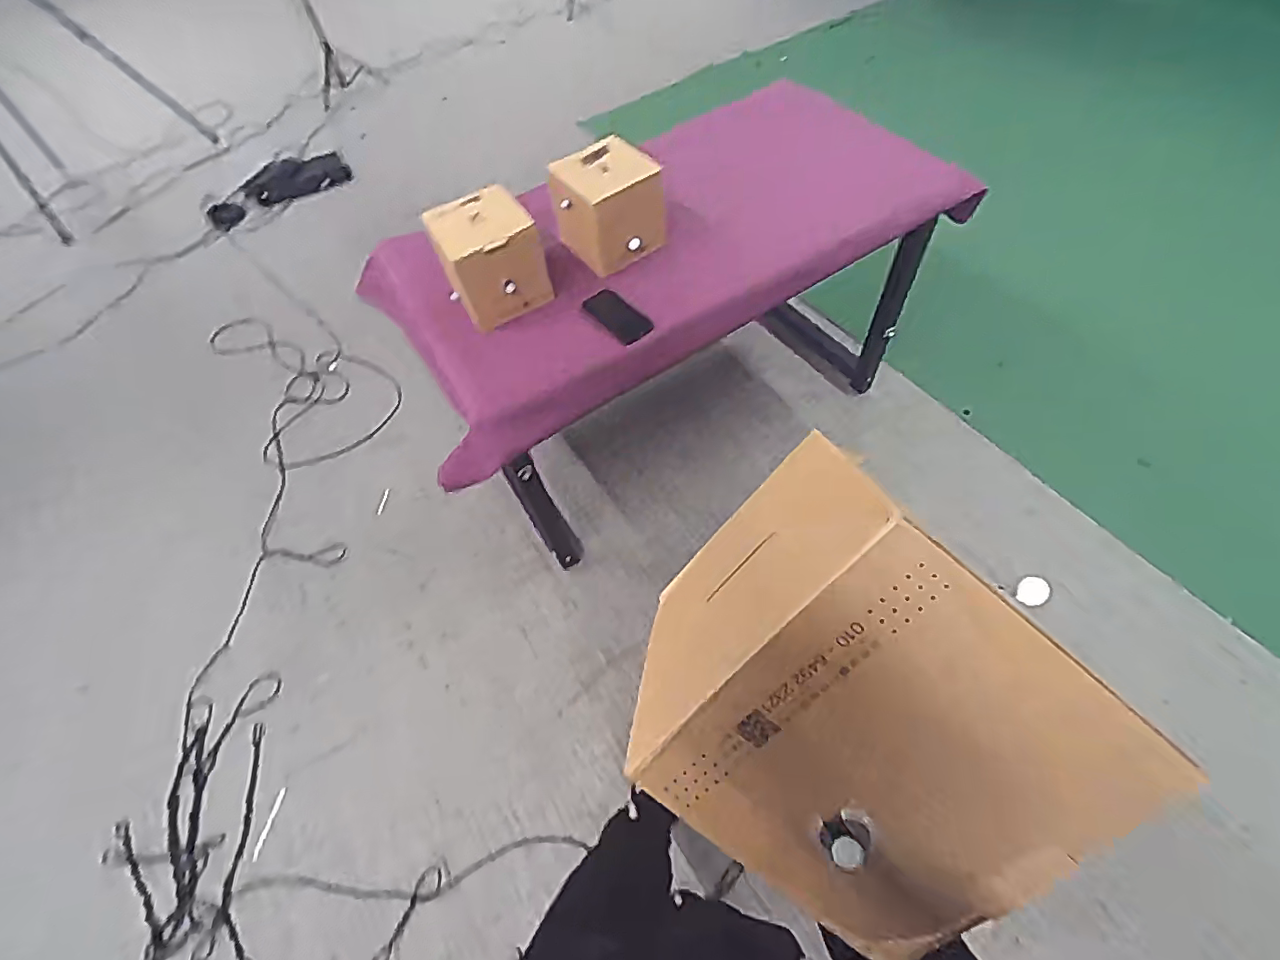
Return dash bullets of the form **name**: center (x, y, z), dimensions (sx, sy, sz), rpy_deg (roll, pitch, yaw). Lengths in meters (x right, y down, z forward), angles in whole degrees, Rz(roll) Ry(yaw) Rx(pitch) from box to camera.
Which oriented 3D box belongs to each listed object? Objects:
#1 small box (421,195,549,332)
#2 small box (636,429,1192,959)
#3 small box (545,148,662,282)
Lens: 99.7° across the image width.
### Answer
- **small box**: center (-0.297, -0.417, 1.067), dimensions (0.168, 0.176, 0.179), rpy_deg (-29, 60, -13)
- **small box**: center (0.113, 0.092, 0.306), dimensions (0.176, 0.179, 0.168), rpy_deg (40, 106, -4)
- **small box**: center (-0.071, -0.548, 1.127), dimensions (0.168, 0.176, 0.179), rpy_deg (-34, 61, -15)
